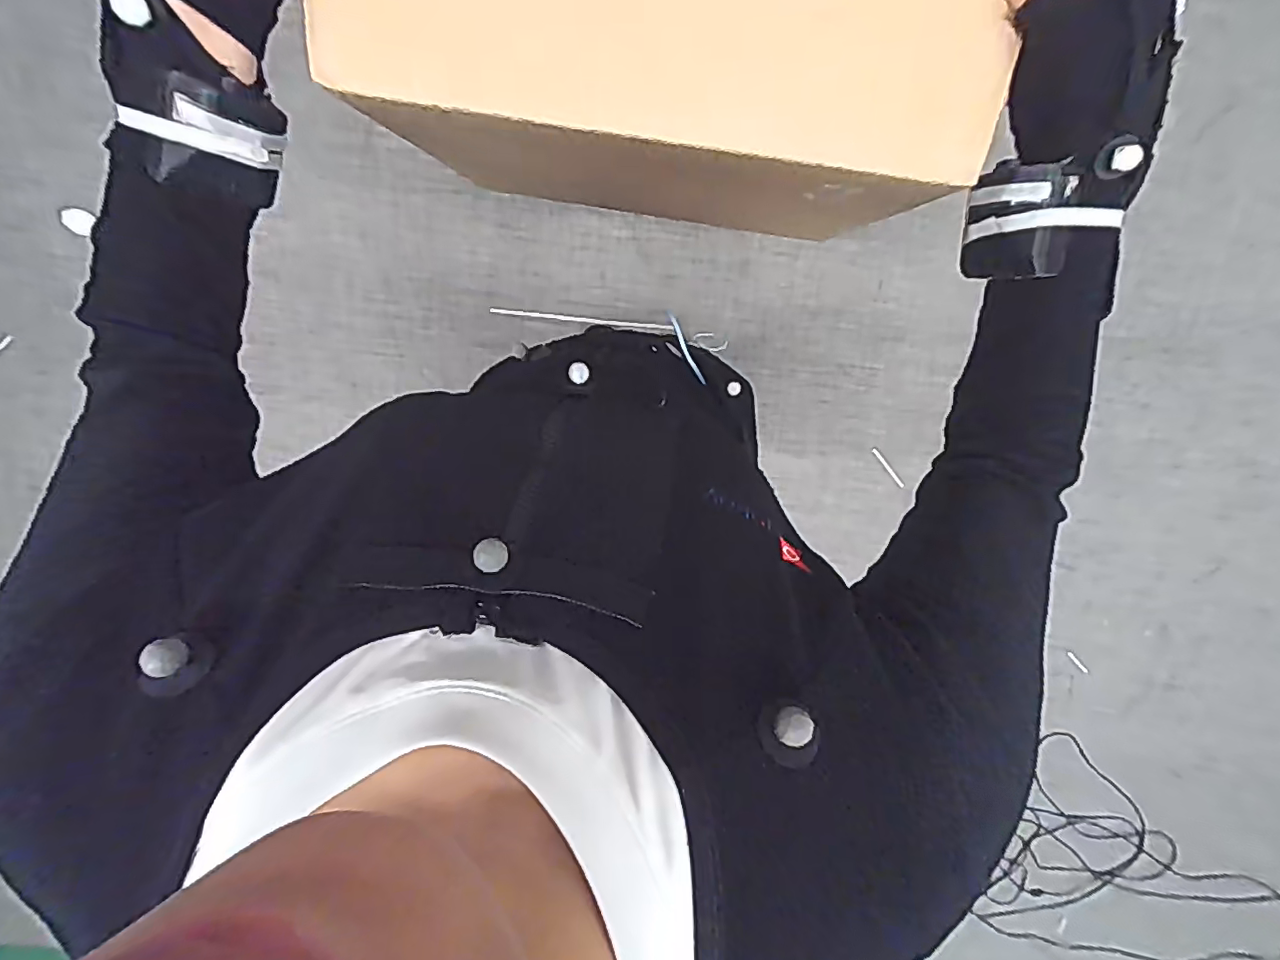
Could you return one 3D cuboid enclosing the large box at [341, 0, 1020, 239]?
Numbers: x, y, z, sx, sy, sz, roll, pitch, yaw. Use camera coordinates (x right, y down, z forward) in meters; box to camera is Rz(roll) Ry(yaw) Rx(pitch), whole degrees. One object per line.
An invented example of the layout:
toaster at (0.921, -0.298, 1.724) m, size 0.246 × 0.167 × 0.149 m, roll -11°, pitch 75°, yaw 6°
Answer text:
large box at (0.035, -0.401, 0.435) m, size 0.408 × 0.320 × 0.320 m, roll 8°, pitch 108°, yaw 0°
